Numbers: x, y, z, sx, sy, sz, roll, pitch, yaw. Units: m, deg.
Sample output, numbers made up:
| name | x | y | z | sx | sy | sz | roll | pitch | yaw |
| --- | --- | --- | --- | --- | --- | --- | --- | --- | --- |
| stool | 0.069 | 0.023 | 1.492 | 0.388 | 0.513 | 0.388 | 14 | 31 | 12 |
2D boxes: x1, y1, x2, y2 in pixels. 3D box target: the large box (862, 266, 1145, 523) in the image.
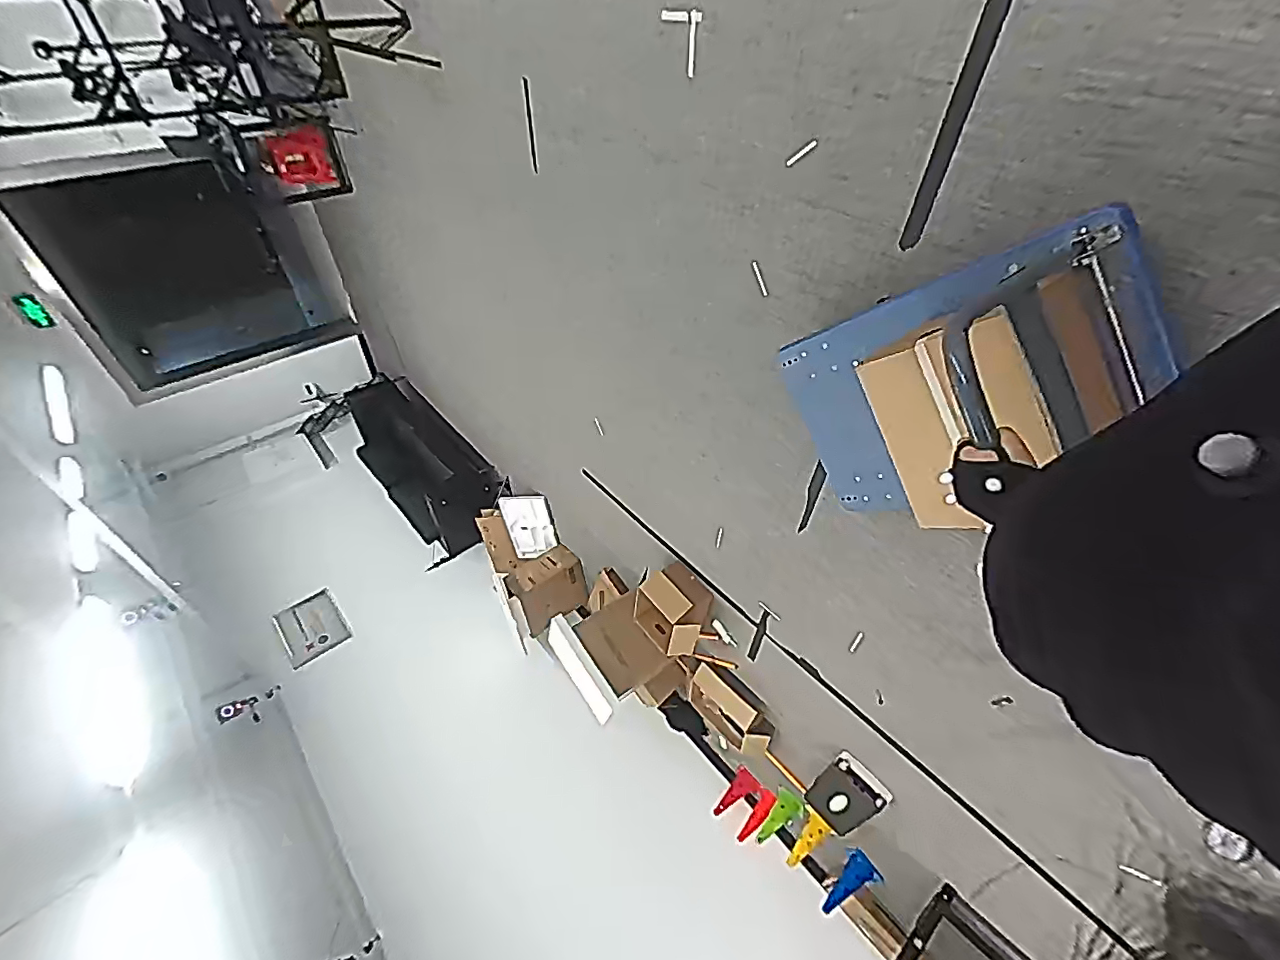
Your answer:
| name | x | y | z | sx | sy | sz | roll | pitch | yaw |
| --- | --- | --- | --- | --- | --- | --- | --- | --- | --- |
| large box | 0.749 | -0.160 | 1.124 | 0.320 | 0.320 | 0.408 | -14 | 104 | 60 |
